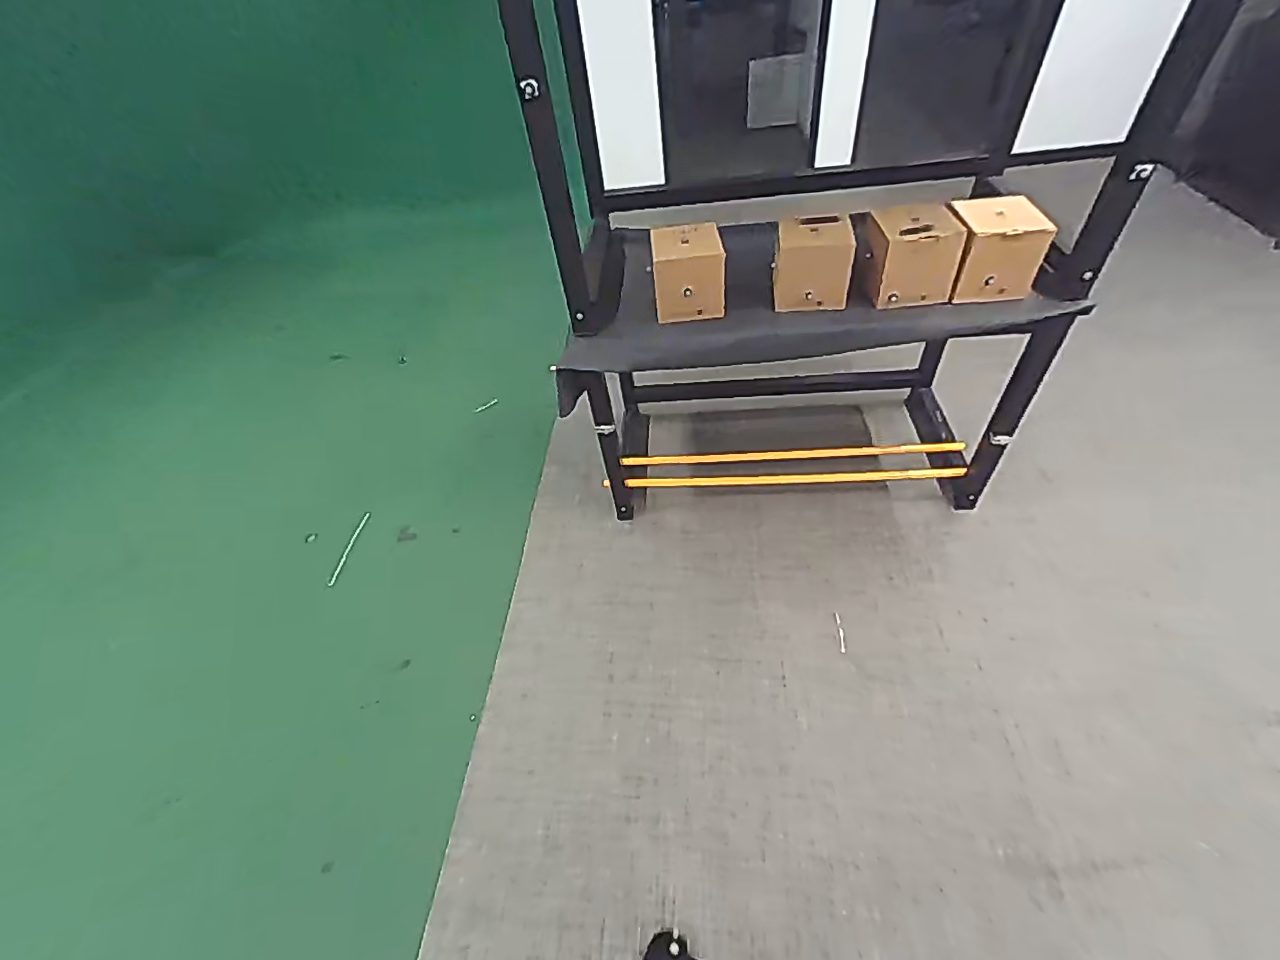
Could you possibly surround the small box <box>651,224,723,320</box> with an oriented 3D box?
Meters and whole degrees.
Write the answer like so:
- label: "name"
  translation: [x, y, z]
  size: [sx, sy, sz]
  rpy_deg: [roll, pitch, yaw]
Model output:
- label: "small box"
  translation: [0.120, -0.515, 1.359]
  size: [0.168, 0.176, 0.179]
  rpy_deg: [-5, 46, 3]
